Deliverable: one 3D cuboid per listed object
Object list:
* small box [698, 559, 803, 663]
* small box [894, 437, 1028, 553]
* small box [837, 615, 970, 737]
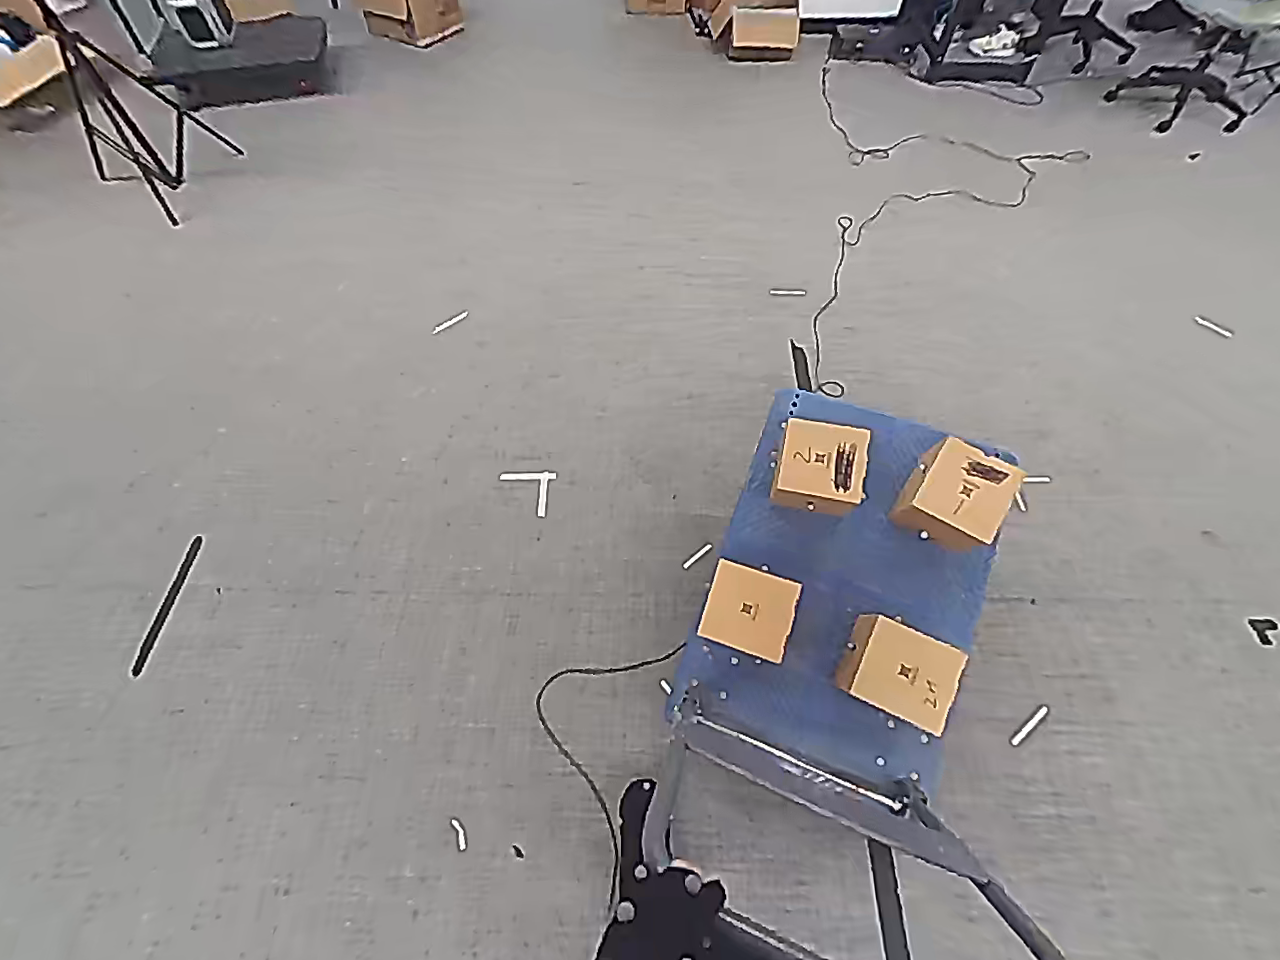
[{"bbox_3d":[0.234,0.284,1.175,0.179,0.176,0.168,17,79,10],"label":"small box"},{"bbox_3d":[0.682,0.039,1.174,0.168,0.176,0.179,31,83,14],"label":"small box"},{"bbox_3d":[0.525,0.392,1.106,0.179,0.176,0.168,24,81,13],"label":"small box"}]
